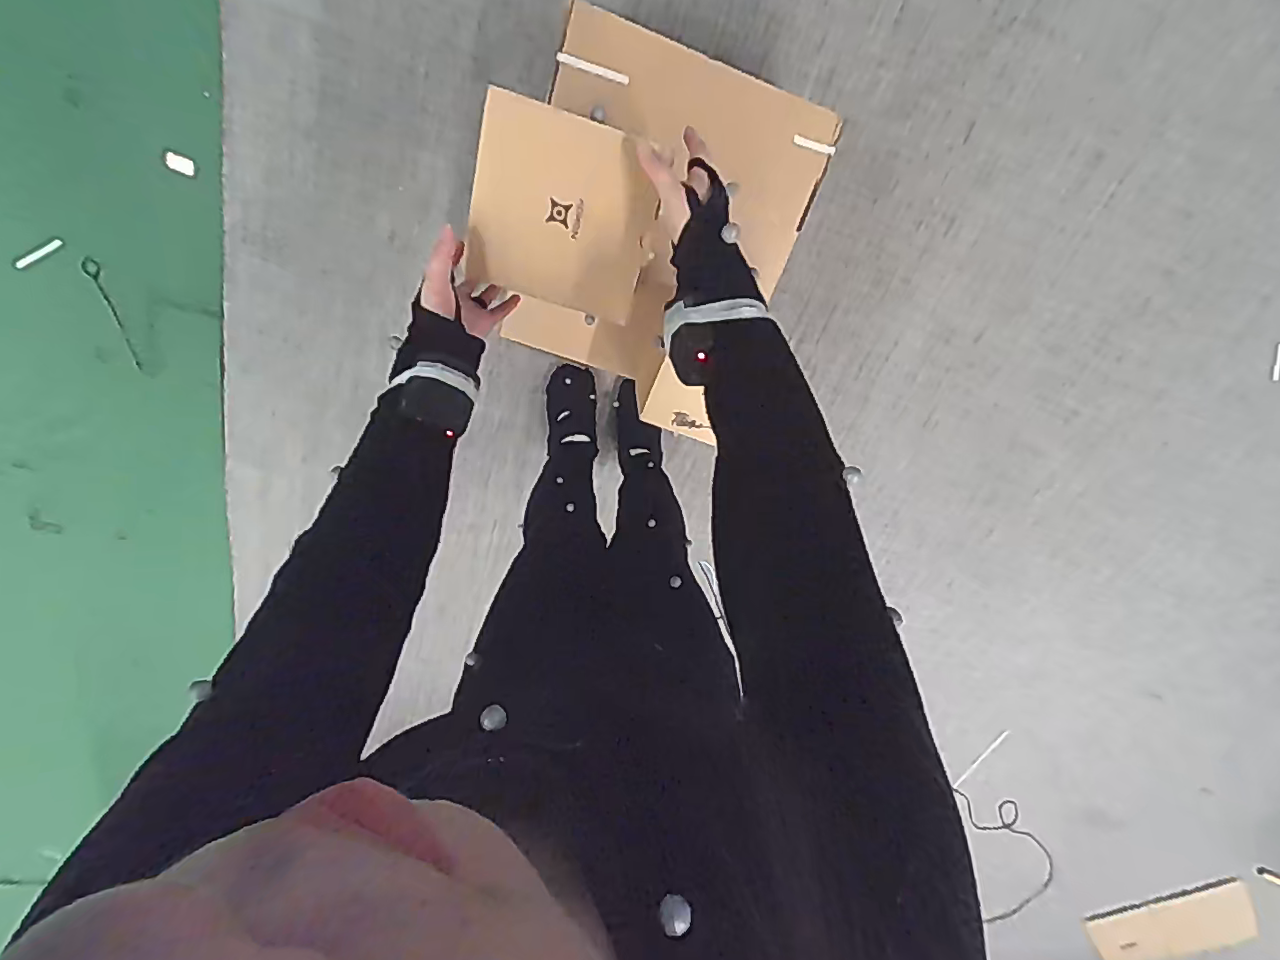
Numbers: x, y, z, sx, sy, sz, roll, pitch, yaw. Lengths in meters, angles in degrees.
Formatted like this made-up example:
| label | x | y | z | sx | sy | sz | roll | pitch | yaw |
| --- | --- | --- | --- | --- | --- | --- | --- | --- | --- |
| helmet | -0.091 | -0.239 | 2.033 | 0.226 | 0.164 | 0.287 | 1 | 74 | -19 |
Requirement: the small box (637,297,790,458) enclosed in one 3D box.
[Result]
| label | x | y | z | sx | sy | sz | roll | pitch | yaw |
| --- | --- | --- | --- | --- | --- | --- | --- | --- | --- |
| small box | 0.099 | -0.167 | 0.839 | 0.168 | 0.176 | 0.179 | 19 | 114 | -12 |

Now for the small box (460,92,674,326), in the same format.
| label | x | y | z | sx | sy | sz | roll | pitch | yaw |
| --- | --- | --- | --- | --- | --- | --- | --- | --- | --- |
| small box | -0.077 | -0.285 | 0.594 | 0.179 | 0.176 | 0.168 | 14 | 114 | -9 |
